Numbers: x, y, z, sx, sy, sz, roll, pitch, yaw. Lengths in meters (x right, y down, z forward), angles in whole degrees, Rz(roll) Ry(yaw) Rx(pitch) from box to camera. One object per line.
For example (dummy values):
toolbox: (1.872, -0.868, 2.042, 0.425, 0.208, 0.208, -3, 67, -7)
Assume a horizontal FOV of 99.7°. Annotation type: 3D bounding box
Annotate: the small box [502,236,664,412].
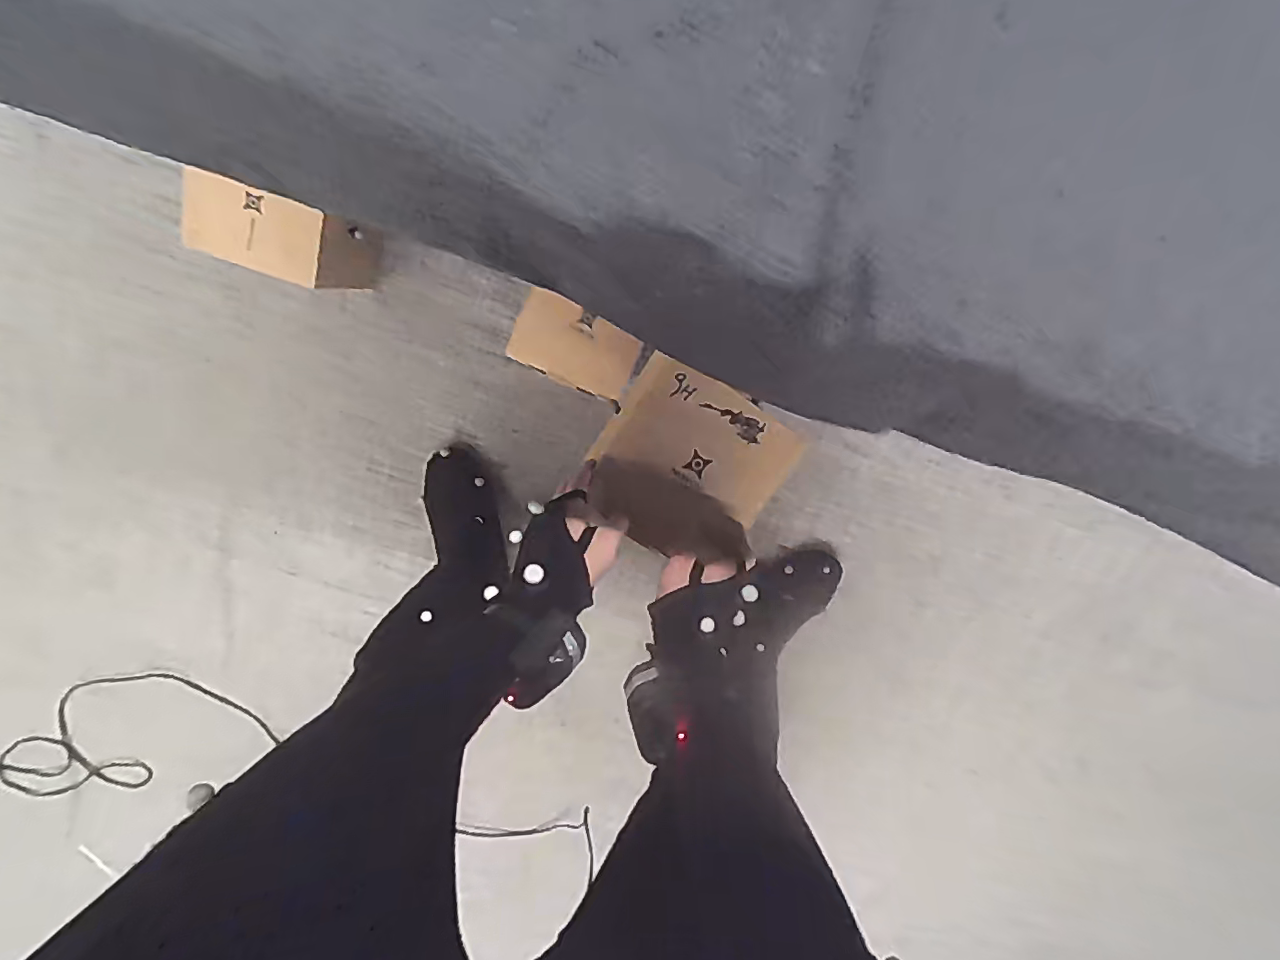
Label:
small box: (-0.078, -0.221, 0.779, 0.168, 0.176, 0.179, 22, 105, -10)
